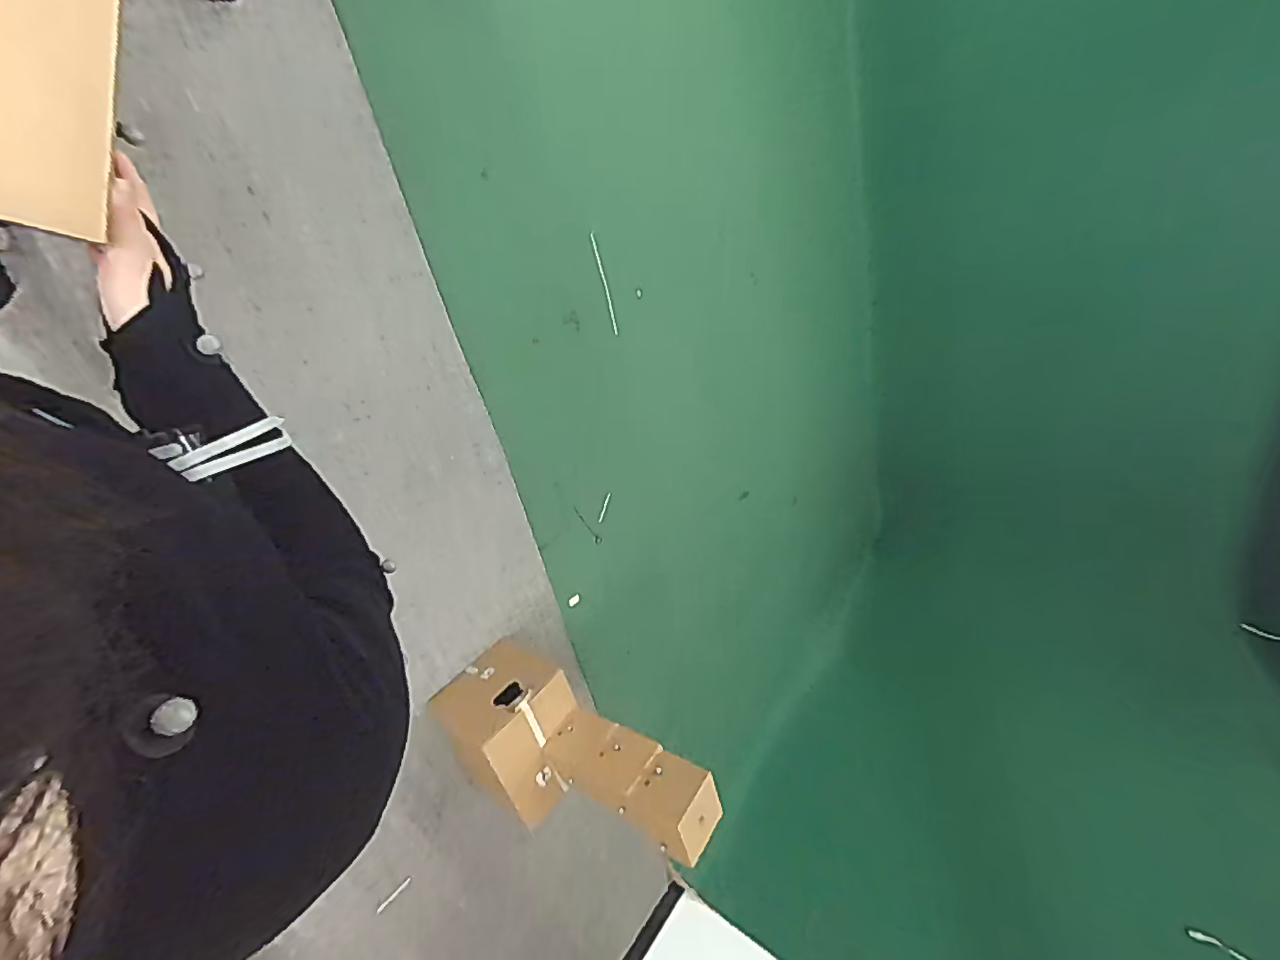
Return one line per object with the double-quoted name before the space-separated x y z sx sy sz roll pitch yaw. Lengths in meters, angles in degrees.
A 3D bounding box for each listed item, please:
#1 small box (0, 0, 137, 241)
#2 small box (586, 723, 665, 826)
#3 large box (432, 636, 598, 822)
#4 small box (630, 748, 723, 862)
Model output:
"small box" -0.410 -0.250 0.305 0.179 0.176 0.168 3 105 -44
"small box" -0.026 0.841 1.560 0.168 0.176 0.179 -40 124 -40
"large box" -0.396 0.787 1.751 0.320 0.320 0.408 -38 124 -38
"small box" 0.098 0.864 1.456 0.168 0.176 0.179 -39 122 -42
